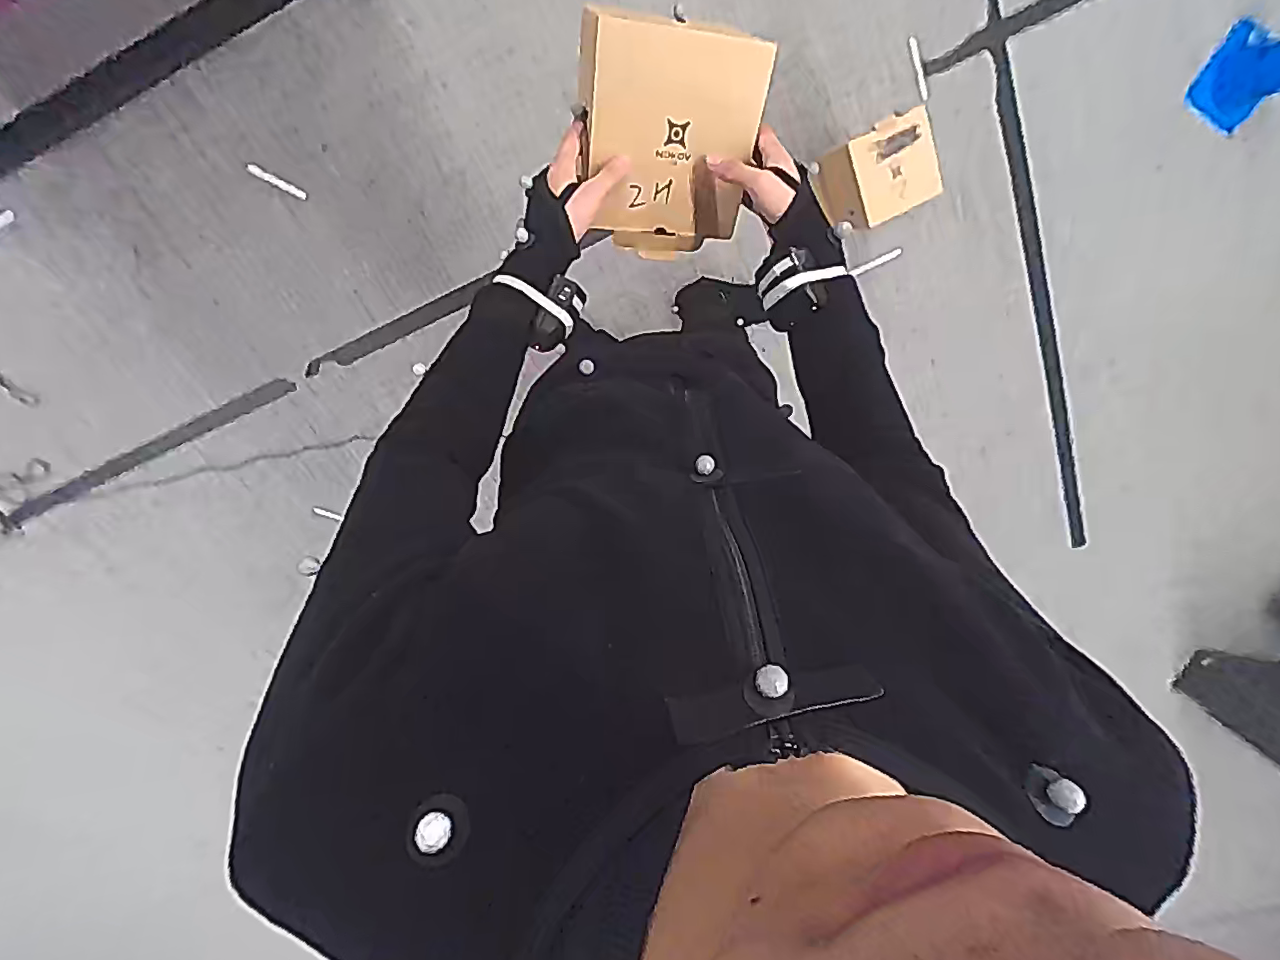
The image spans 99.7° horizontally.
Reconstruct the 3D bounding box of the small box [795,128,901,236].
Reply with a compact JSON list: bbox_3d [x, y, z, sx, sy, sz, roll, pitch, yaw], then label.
[{"bbox_3d":[0.502,-0.724,1.336,0.179,0.176,0.168,-28,111,6],"label":"small box"}]

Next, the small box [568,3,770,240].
[{"bbox_3d":[0.013,-0.382,0.578,0.168,0.176,0.179,-1,134,-12],"label":"small box"}]
